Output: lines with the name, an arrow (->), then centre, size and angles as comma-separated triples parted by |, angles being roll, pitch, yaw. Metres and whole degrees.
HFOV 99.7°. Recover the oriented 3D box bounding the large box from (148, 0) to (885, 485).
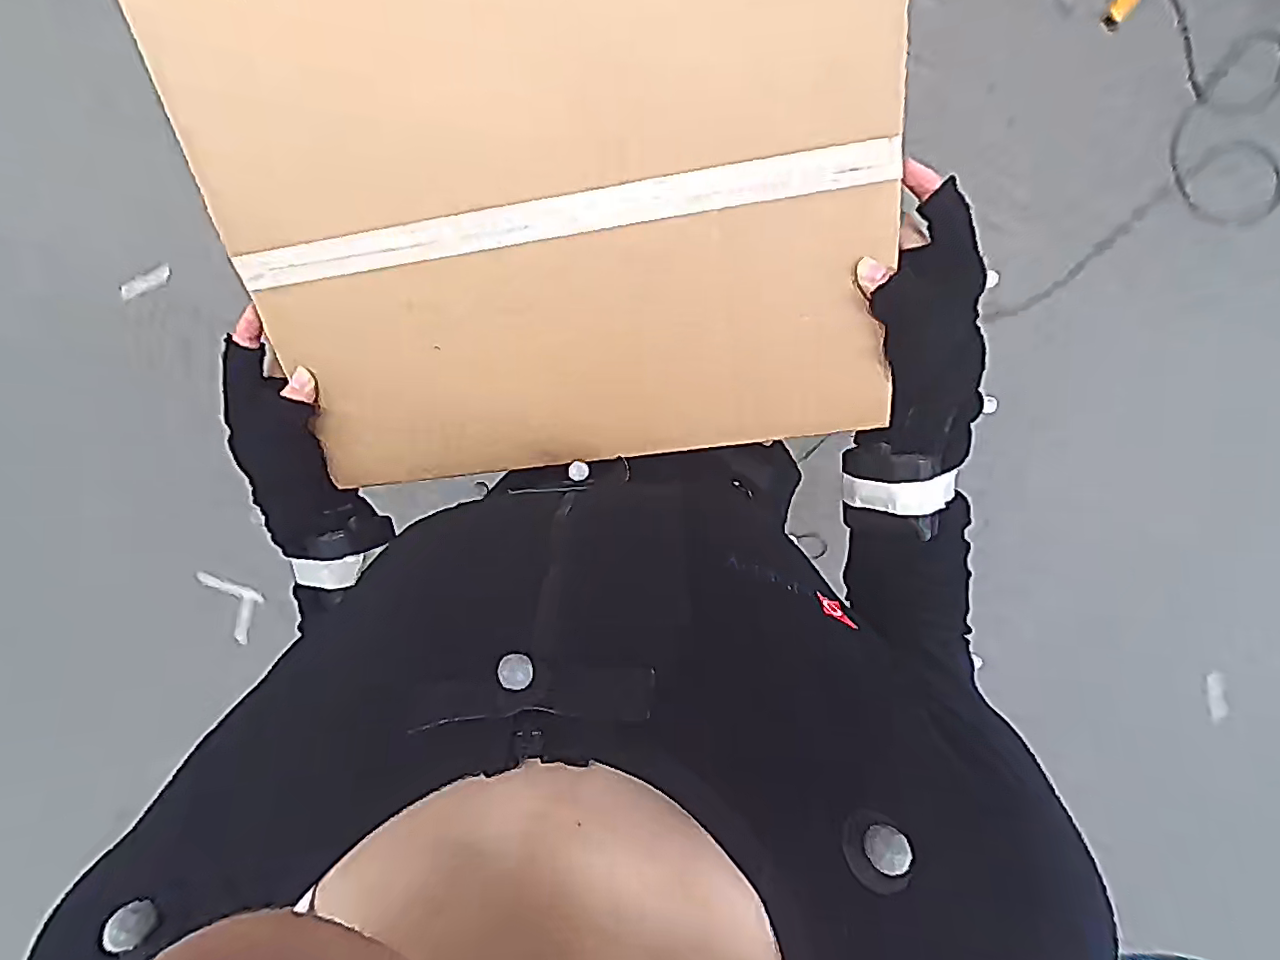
large box -> -0.048, -0.221, 0.468 | 0.408, 0.320, 0.320 | -7, 116, 7
